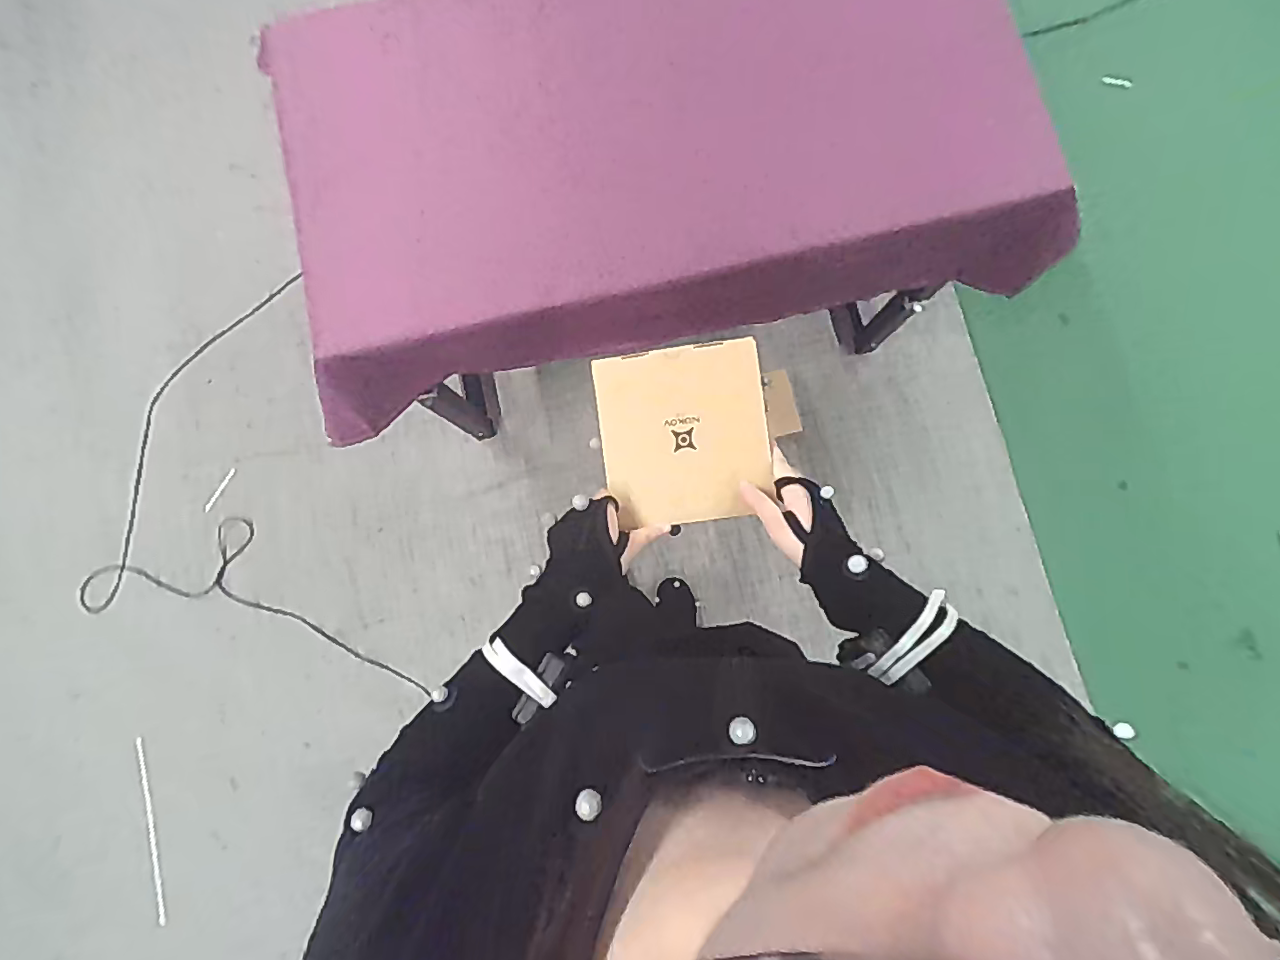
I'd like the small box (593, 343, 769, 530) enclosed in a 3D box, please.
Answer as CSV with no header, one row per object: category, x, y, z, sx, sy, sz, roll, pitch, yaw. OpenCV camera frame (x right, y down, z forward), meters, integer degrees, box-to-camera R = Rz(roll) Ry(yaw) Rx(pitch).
small box,0.047,-0.042,0.623,0.168,0.176,0.179,-6,87,4
